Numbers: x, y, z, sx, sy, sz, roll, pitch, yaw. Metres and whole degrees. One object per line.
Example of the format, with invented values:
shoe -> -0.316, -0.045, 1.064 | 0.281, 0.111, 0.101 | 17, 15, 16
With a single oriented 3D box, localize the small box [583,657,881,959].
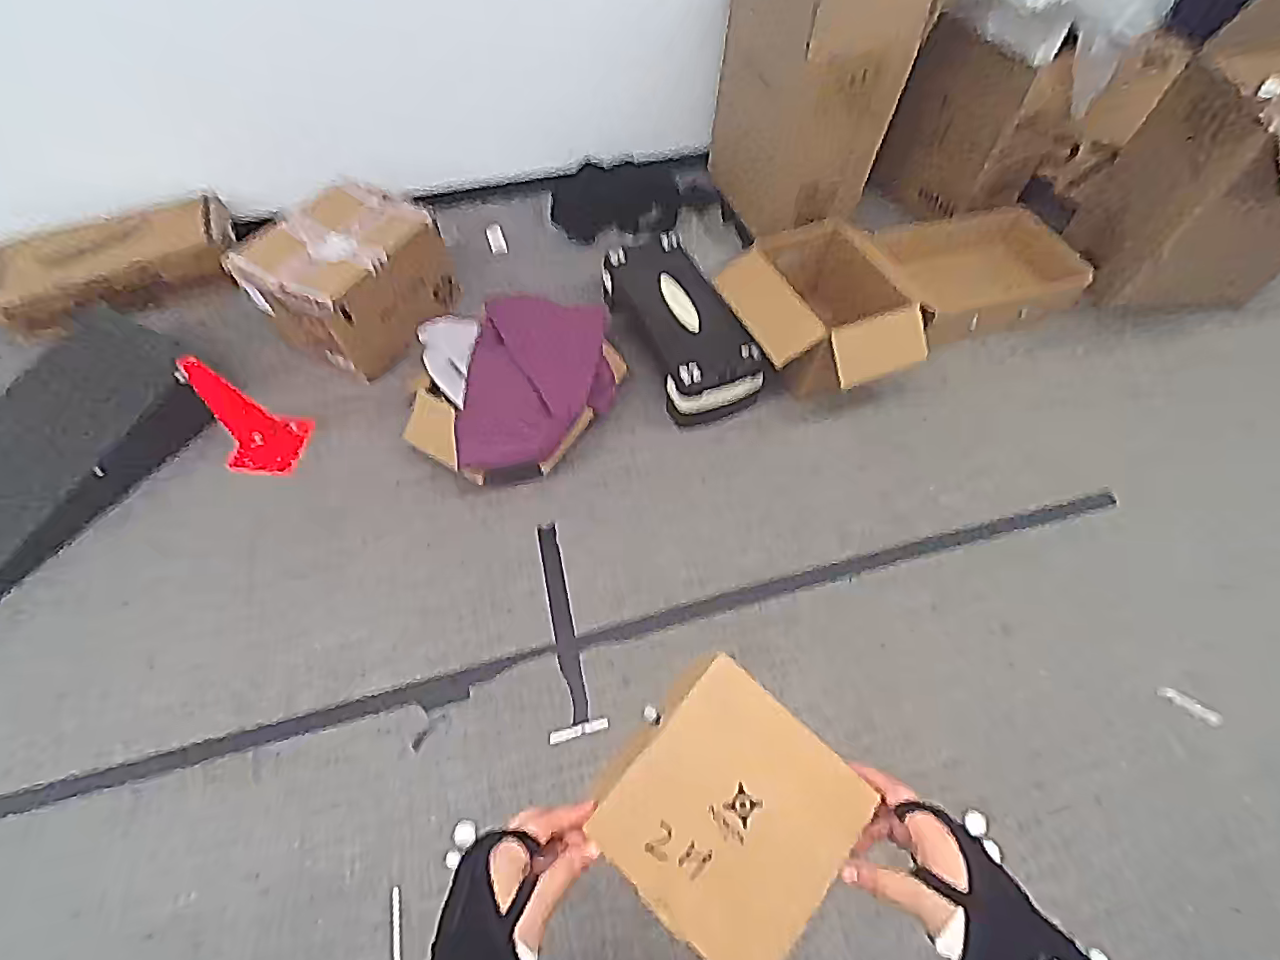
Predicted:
small box -> 0.065, 0.283, 0.478 | 0.168, 0.176, 0.179 | 41, 71, 12
